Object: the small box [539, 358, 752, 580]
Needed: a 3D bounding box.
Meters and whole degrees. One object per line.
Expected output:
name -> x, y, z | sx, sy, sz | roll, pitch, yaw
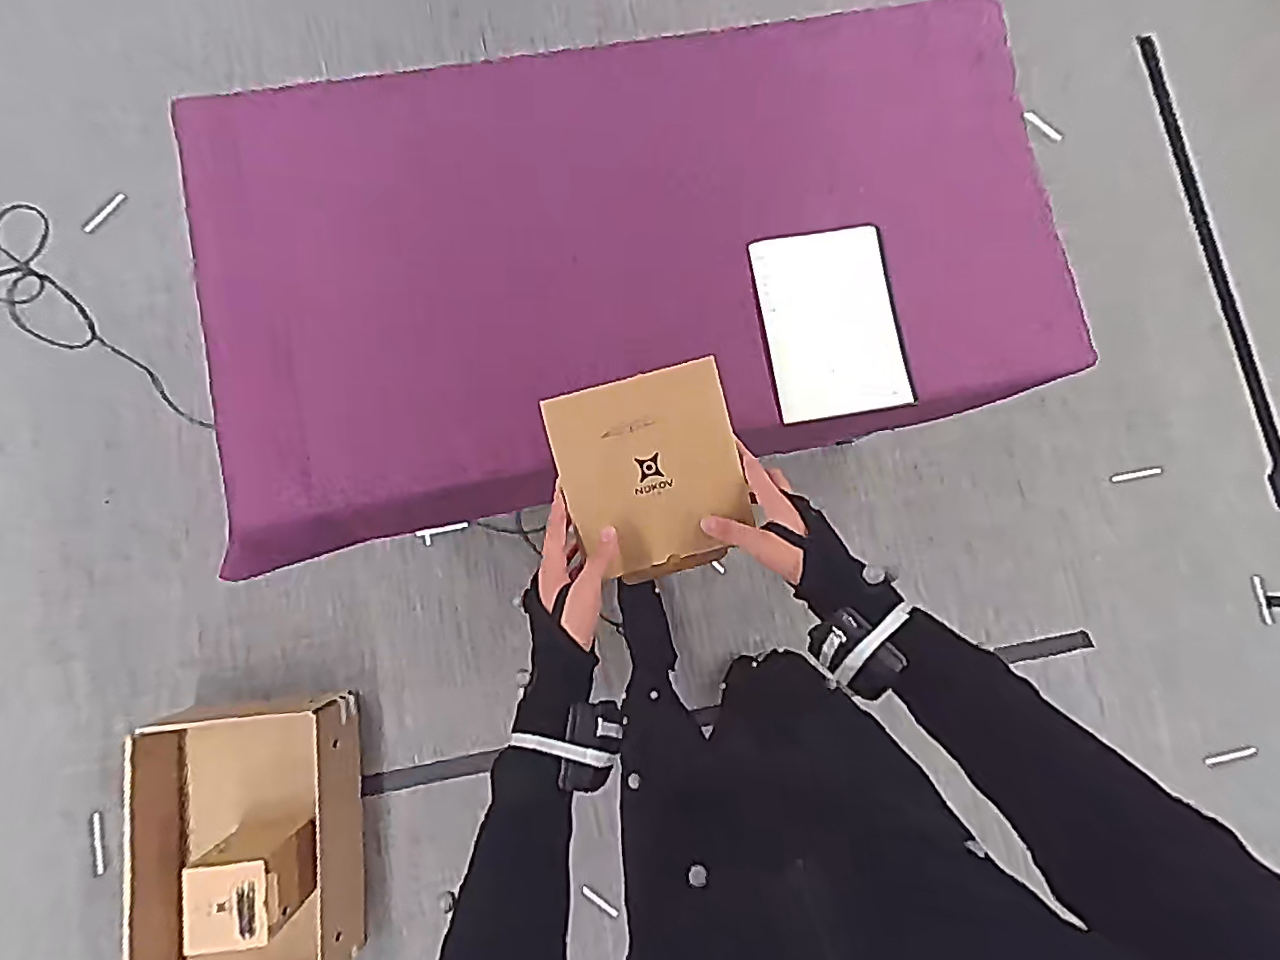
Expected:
small box -> 0.006, -0.015, 0.574 | 0.168, 0.176, 0.179 | -15, 93, 0
